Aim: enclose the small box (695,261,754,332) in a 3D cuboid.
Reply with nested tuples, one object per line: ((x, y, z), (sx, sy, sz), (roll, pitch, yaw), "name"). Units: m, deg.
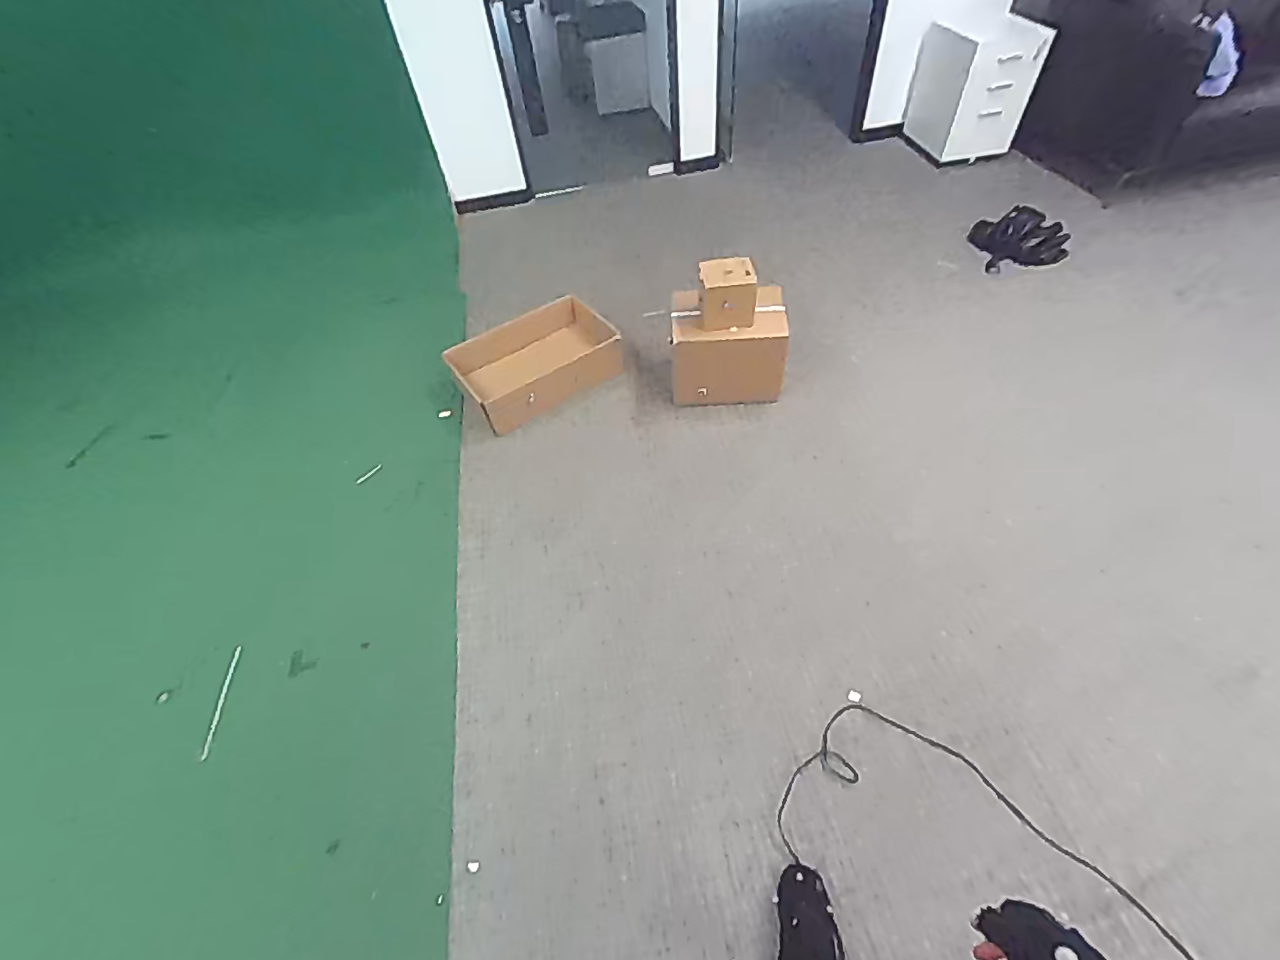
((0.291, -0.629, 1.870), (0.179, 0.176, 0.168), (-7, 51, 2), "small box")
